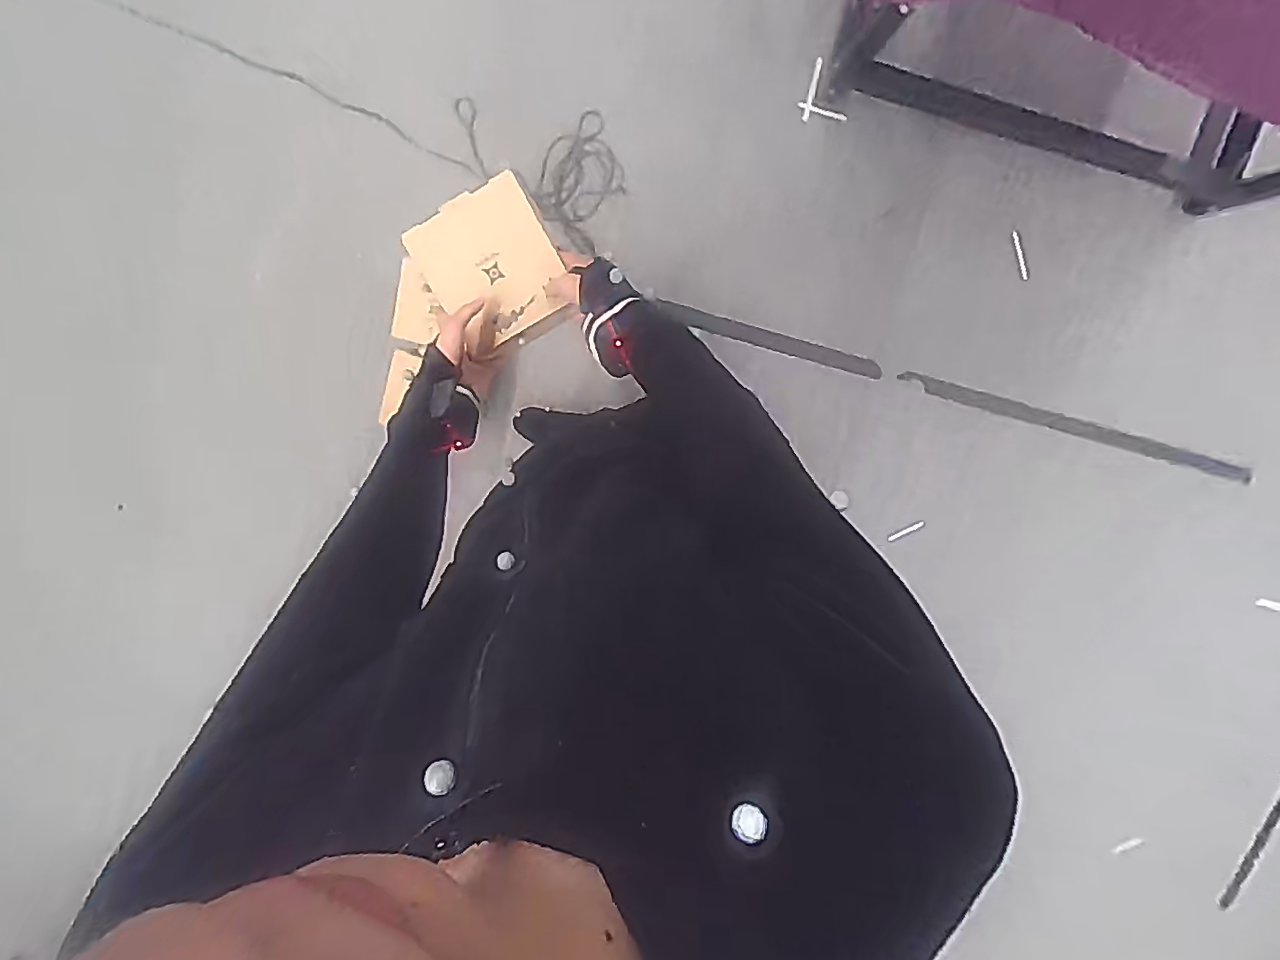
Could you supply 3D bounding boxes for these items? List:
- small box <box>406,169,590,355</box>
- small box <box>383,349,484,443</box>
[{"bbox_3d":[-0.185,-0.290,0.763,0.168,0.176,0.179,-27,102,7],"label":"small box"},{"bbox_3d":[-0.489,-0.207,1.304,0.168,0.176,0.179,17,103,-6],"label":"small box"}]
